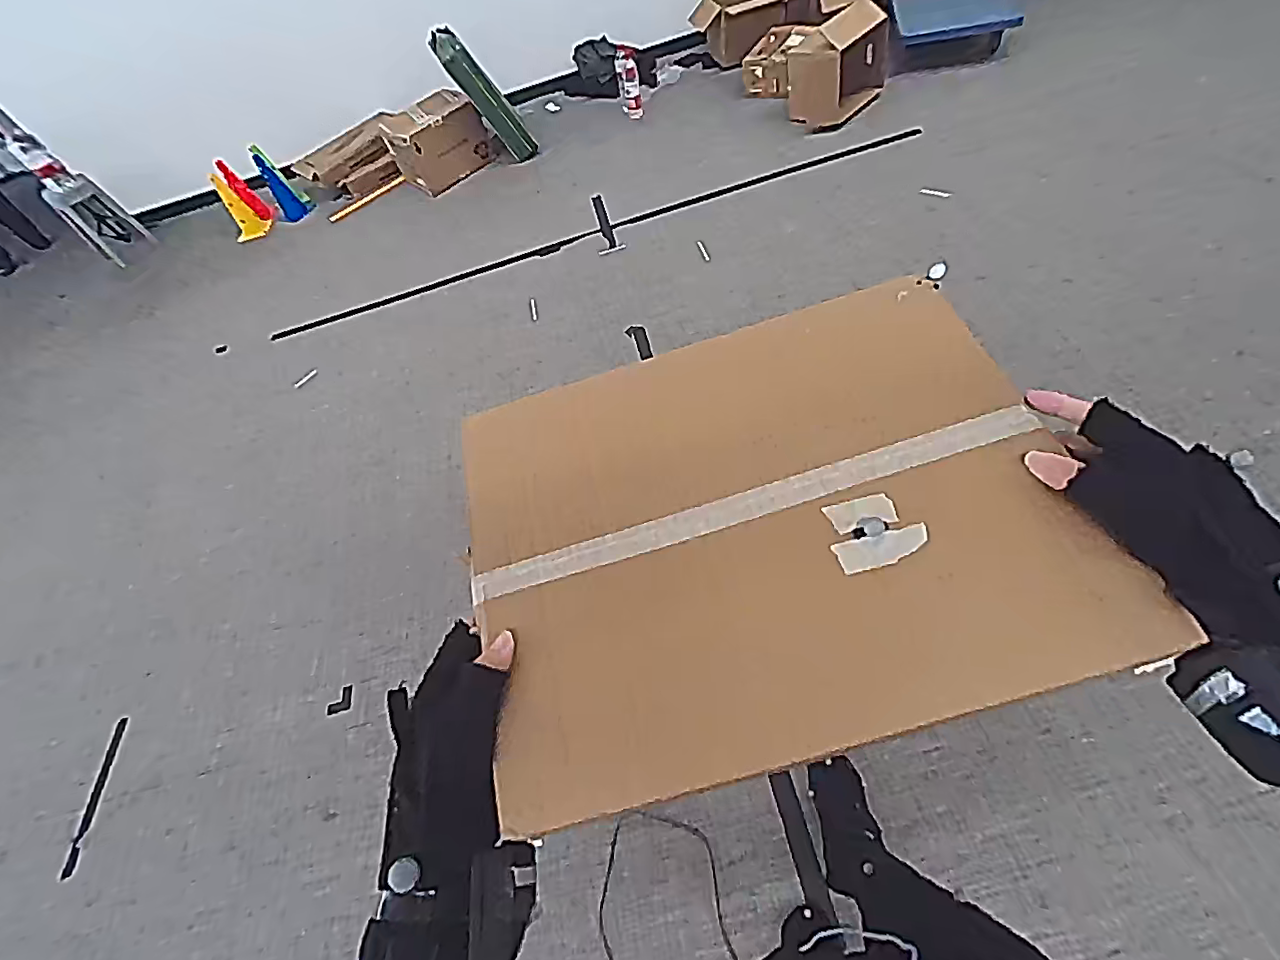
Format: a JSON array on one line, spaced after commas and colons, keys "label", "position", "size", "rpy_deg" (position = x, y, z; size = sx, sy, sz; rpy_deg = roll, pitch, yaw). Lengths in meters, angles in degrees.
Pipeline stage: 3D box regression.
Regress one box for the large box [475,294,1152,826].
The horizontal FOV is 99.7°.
[{"label": "large box", "position": [0.104, 0.095, 0.525], "size": [0.408, 0.320, 0.320], "rpy_deg": [-18, 60, 2]}]
